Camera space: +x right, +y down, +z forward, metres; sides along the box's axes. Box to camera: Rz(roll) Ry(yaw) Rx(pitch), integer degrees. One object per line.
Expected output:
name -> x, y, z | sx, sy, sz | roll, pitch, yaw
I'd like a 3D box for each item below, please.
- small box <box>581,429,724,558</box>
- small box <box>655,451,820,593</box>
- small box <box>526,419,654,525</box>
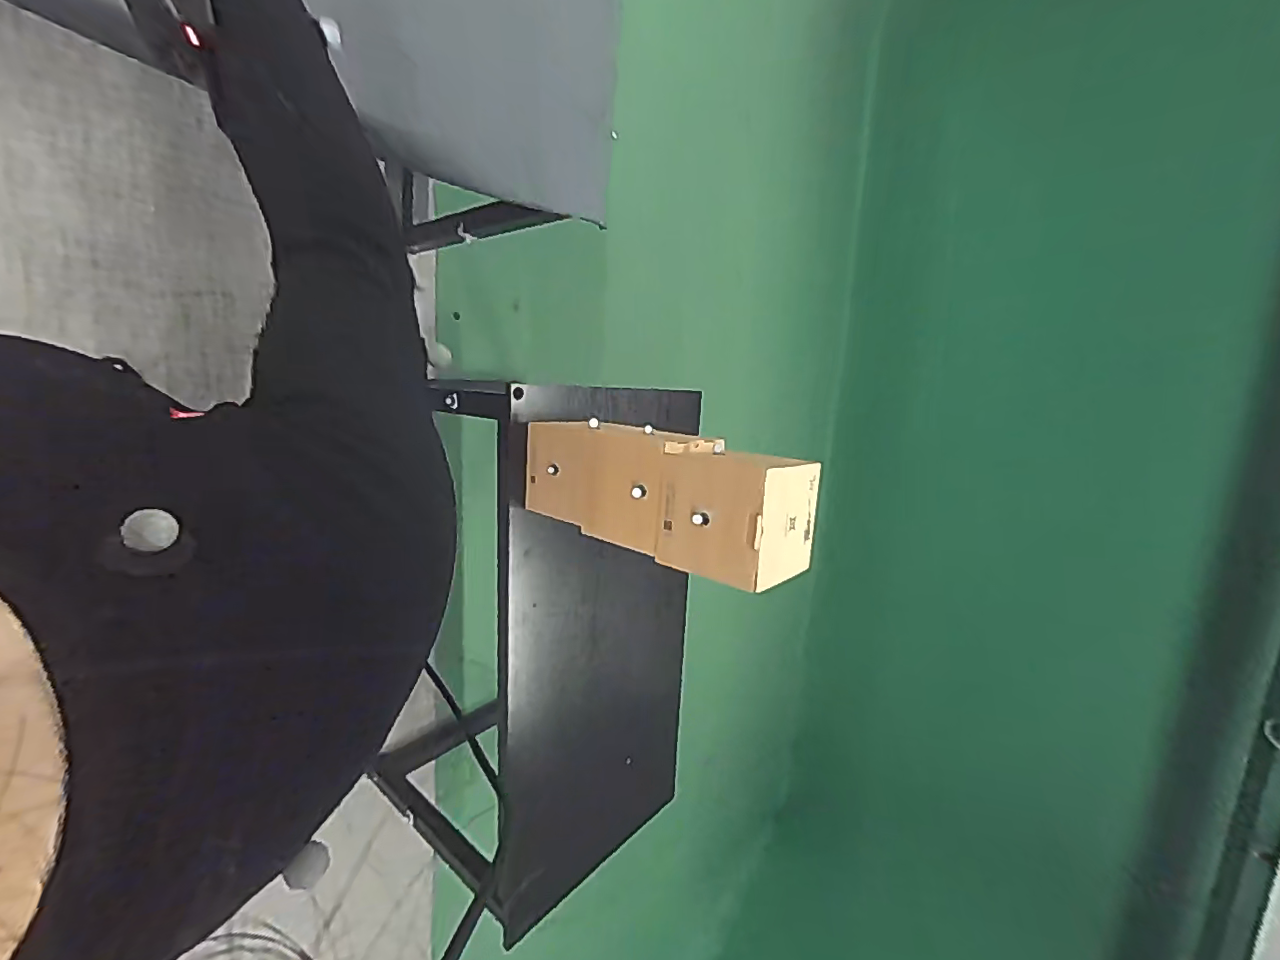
small box -> 0.017, 0.013, 0.895 | 0.168, 0.176, 0.179 | -7, 105, -49
small box -> 0.140, 0.050, 0.793 | 0.179, 0.176, 0.168 | -5, 103, -48
small box -> -0.095, -0.022, 1.009 | 0.179, 0.176, 0.168 | -8, 106, -49
